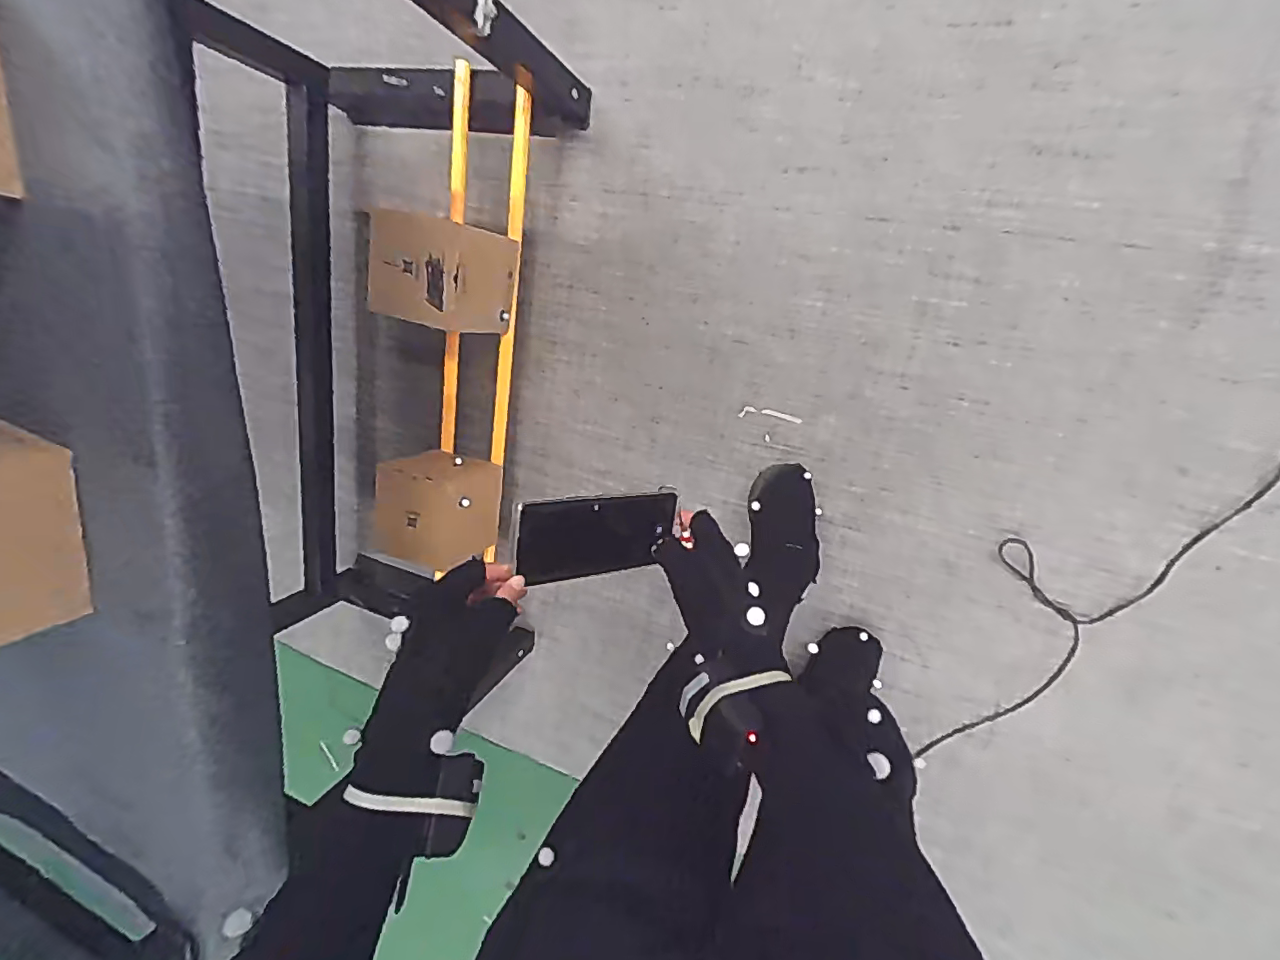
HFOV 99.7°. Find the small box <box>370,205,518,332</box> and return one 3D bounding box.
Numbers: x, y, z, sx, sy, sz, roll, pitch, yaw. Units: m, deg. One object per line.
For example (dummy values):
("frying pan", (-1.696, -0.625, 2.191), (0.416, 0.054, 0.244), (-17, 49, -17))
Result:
("small box", (-0.334, -0.359, 0.939), (0.179, 0.176, 0.168), (18, 109, 15))
